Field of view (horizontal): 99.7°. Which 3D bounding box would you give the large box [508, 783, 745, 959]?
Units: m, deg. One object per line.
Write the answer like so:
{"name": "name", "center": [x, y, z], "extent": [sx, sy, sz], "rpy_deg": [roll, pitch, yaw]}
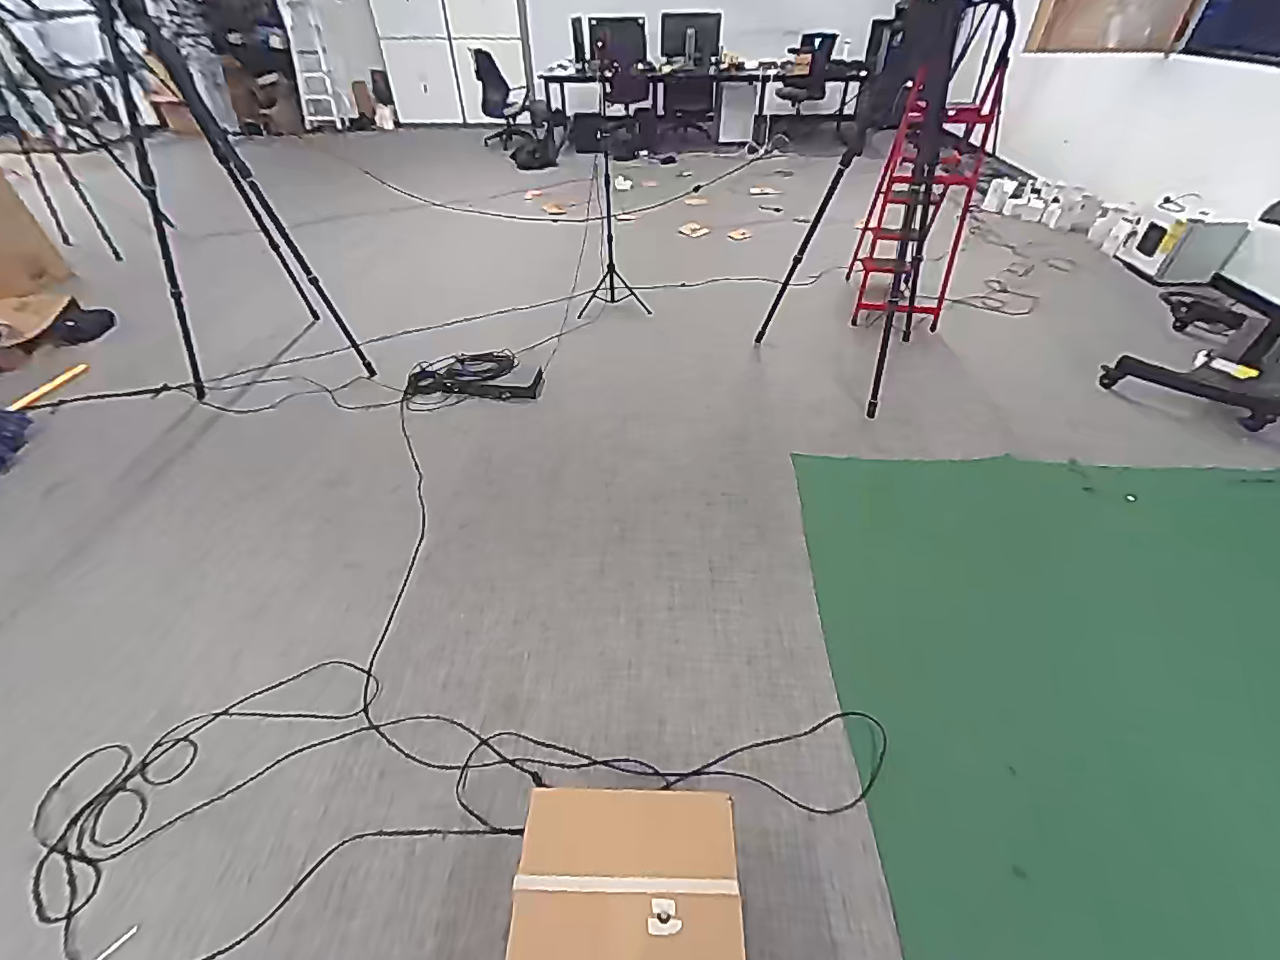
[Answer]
{"name": "large box", "center": [-0.021, 0.830, 1.087], "extent": [0.408, 0.320, 0.320], "rpy_deg": [1, 45, 1]}
